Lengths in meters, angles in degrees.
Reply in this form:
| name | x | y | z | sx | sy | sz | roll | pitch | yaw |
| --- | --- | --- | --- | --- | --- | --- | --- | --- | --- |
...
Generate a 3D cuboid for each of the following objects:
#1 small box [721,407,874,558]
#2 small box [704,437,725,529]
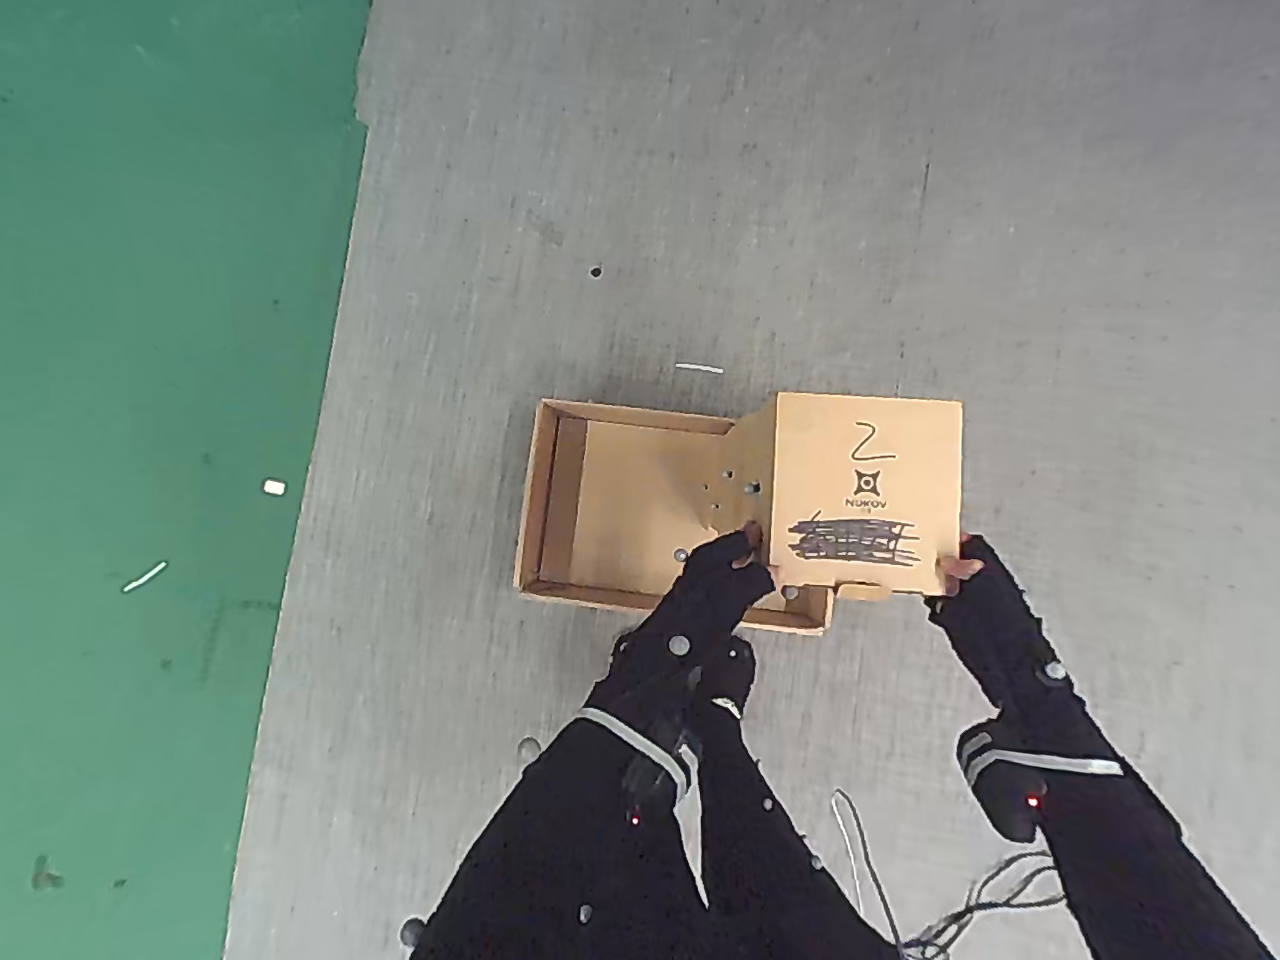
| name | x | y | z | sx | sy | sz | roll | pitch | yaw |
| --- | --- | --- | --- | --- | --- | --- | --- | --- | --- |
| small box | 0.211 | 0.005 | 0.769 | 0.168 | 0.176 | 0.179 | 8 | 88 | 3 |
| small box | 0.218 | 0.011 | 1.099 | 0.168 | 0.176 | 0.179 | 2 | 87 | 5 |
